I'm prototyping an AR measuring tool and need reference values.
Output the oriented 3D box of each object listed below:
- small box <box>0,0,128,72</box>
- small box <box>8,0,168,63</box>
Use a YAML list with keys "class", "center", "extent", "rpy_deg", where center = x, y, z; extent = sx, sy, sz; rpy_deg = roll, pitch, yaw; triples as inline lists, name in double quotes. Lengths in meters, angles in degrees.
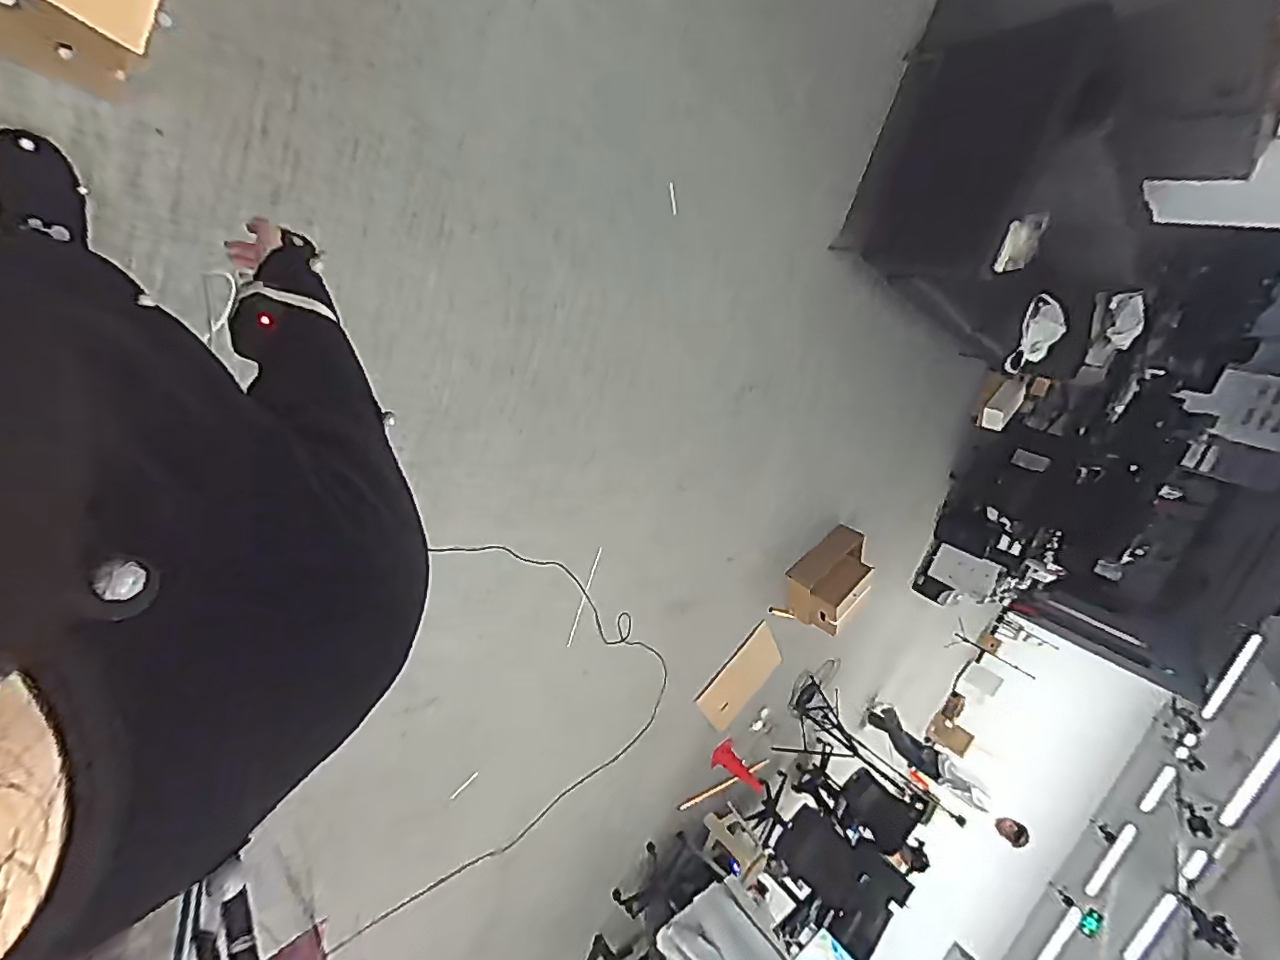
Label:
- class: "small box"
  center: [-0.687, -0.621, 0.629]
  extent: [0.168, 0.176, 0.179]
  rpy_deg: [16, 100, -49]
- class: "small box"
  center: [-0.577, -0.552, 0.531]
  extent: [0.179, 0.176, 0.168]
  rpy_deg: [16, 100, -48]
